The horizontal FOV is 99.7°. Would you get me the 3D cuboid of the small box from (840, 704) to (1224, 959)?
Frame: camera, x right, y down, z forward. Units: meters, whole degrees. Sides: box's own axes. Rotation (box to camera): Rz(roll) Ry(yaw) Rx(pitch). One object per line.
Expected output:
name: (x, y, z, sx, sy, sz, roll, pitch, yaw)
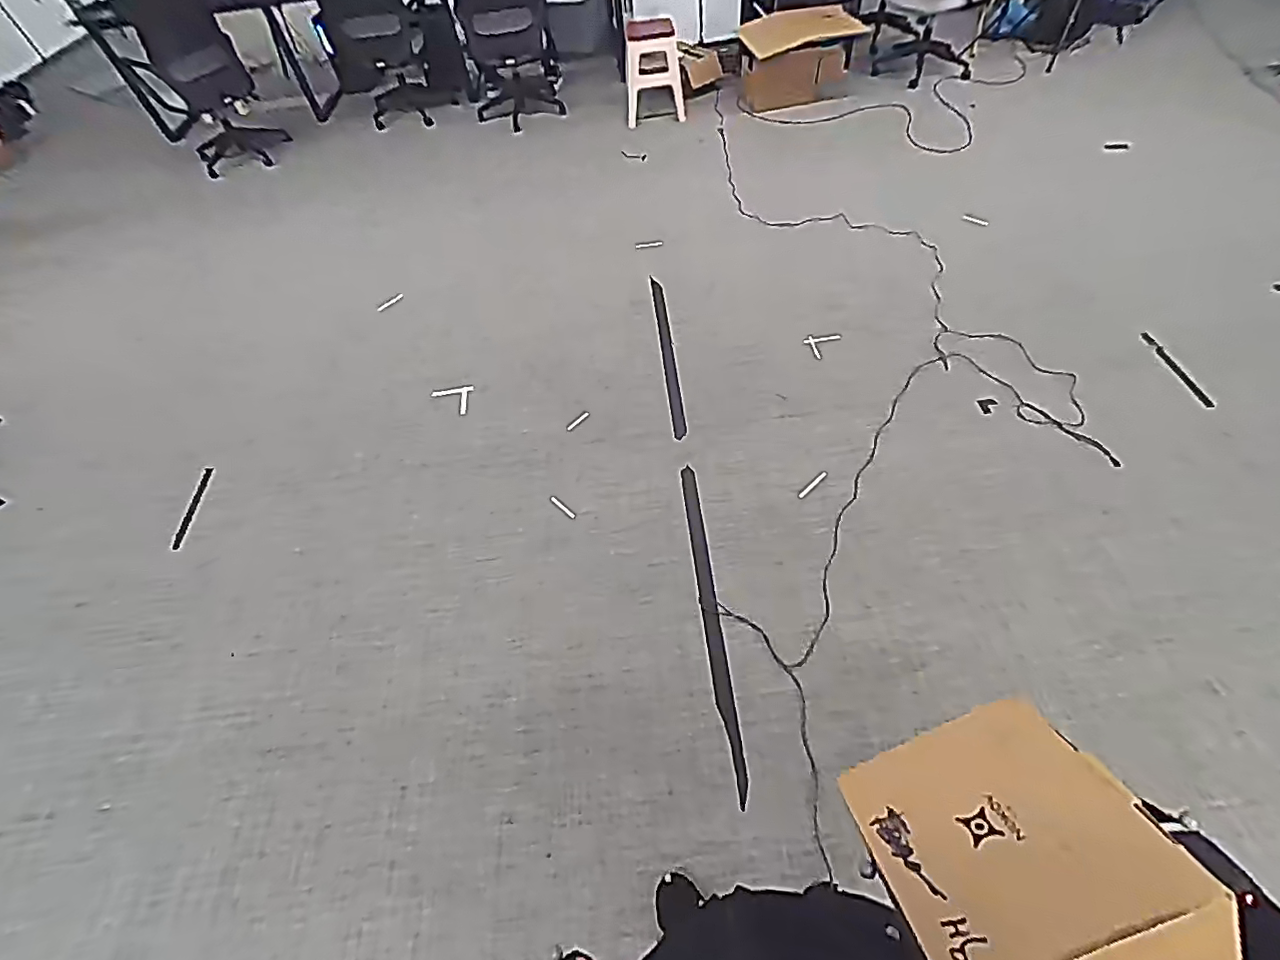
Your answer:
small box: (0.294, 0.325, 0.428, 0.179, 0.176, 0.168, -25, 18, 4)
